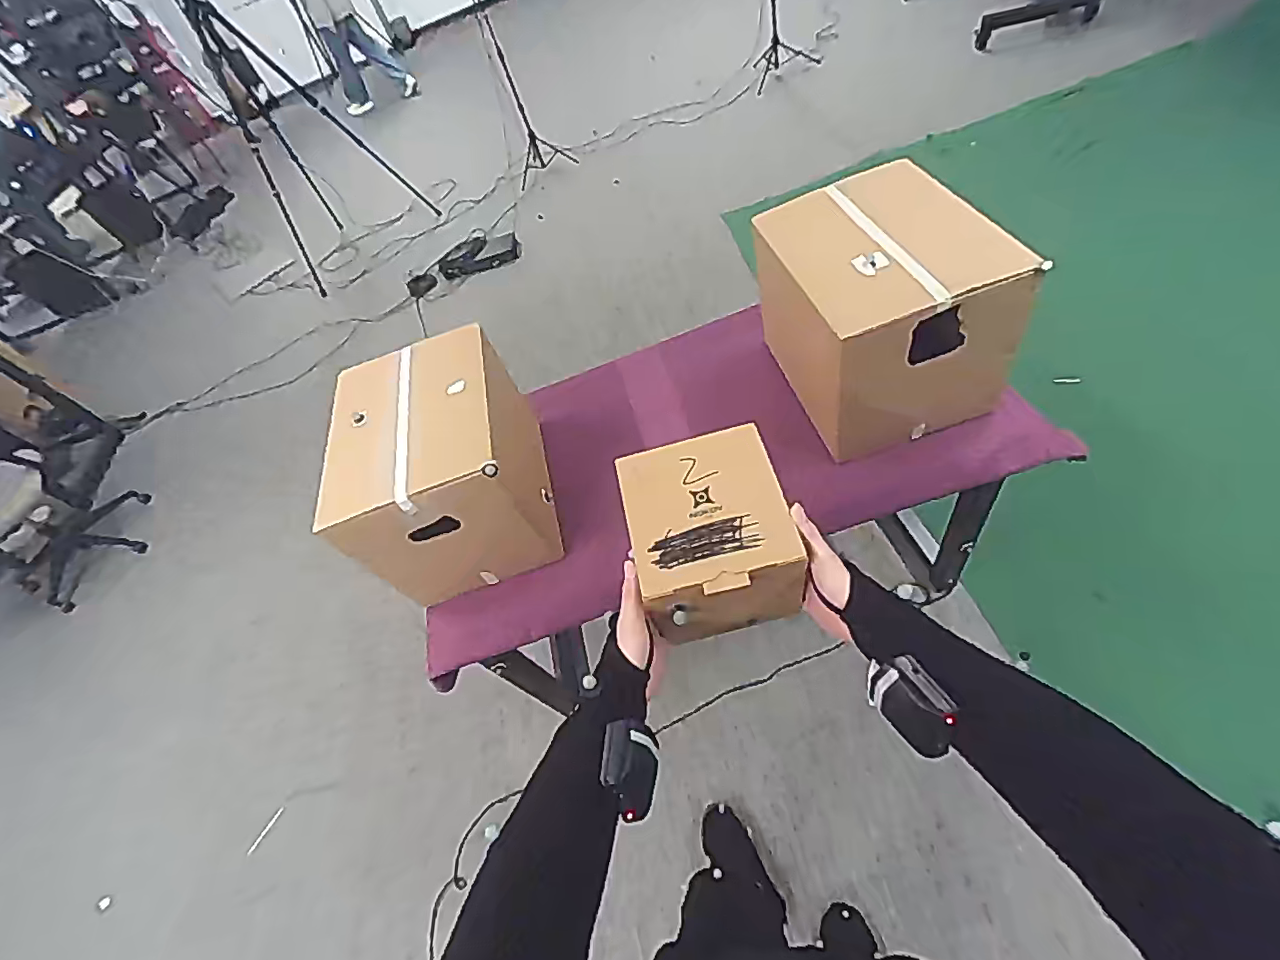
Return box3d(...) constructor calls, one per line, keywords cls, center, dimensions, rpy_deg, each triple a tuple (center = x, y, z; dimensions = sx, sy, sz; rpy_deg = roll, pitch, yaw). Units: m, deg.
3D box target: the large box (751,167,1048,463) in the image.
box3d(cls="large box", center=(0.437, -0.309, 1.024), dimensions=(0.320, 0.320, 0.408), rpy_deg=(-20, 52, 4))
